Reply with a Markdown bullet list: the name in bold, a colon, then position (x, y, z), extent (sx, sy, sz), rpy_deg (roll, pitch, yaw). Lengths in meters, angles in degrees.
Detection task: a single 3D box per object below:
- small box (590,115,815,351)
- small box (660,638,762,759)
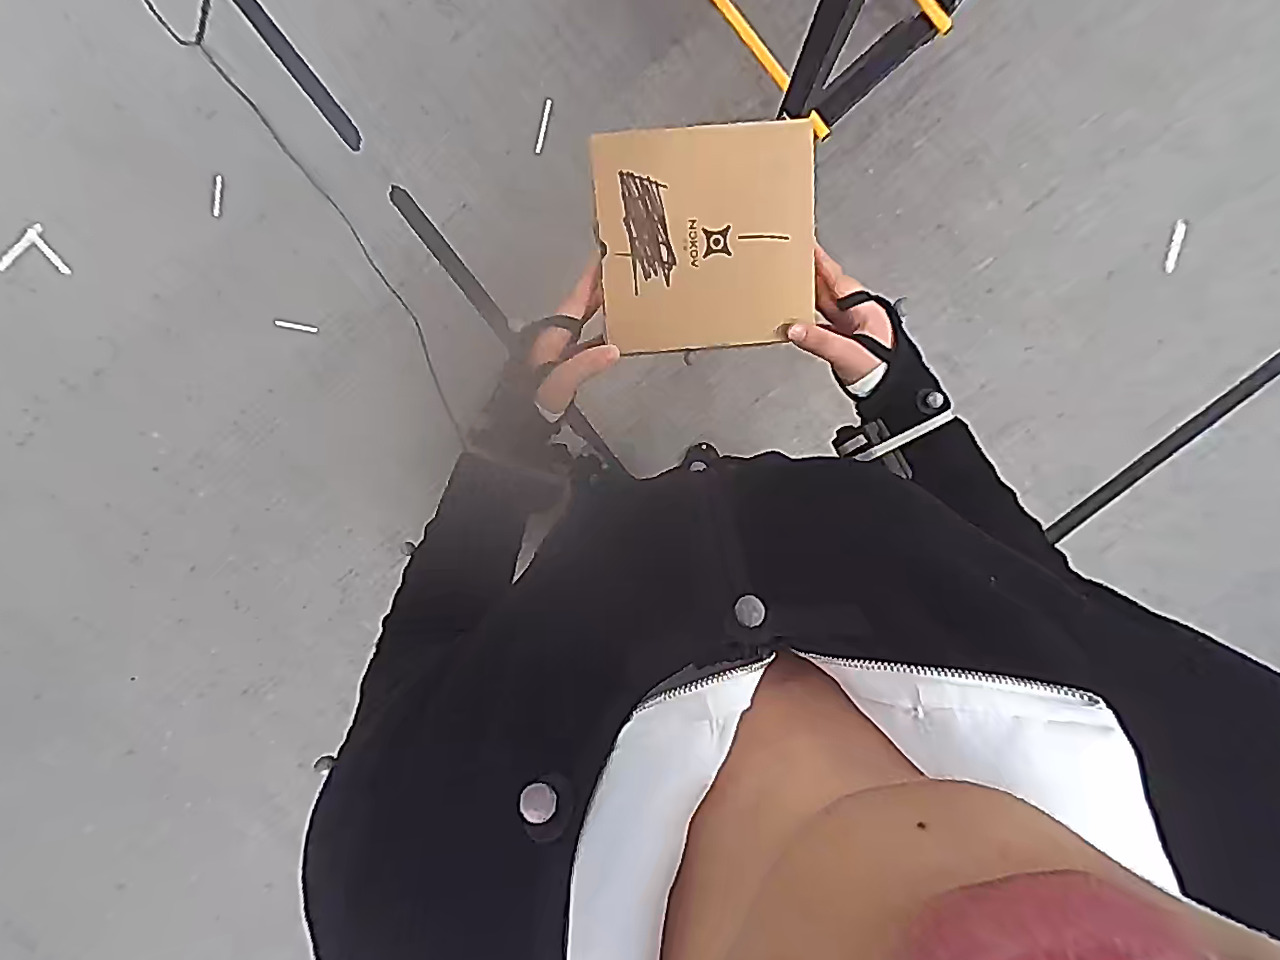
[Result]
- **small box**: position (0.052, -0.213, 0.510), extent (0.179, 0.176, 0.168), rpy_deg (-5, 103, -1)
- **small box**: position (0.164, 0.513, 1.297), extent (0.168, 0.176, 0.179), rpy_deg (-38, 92, 4)
